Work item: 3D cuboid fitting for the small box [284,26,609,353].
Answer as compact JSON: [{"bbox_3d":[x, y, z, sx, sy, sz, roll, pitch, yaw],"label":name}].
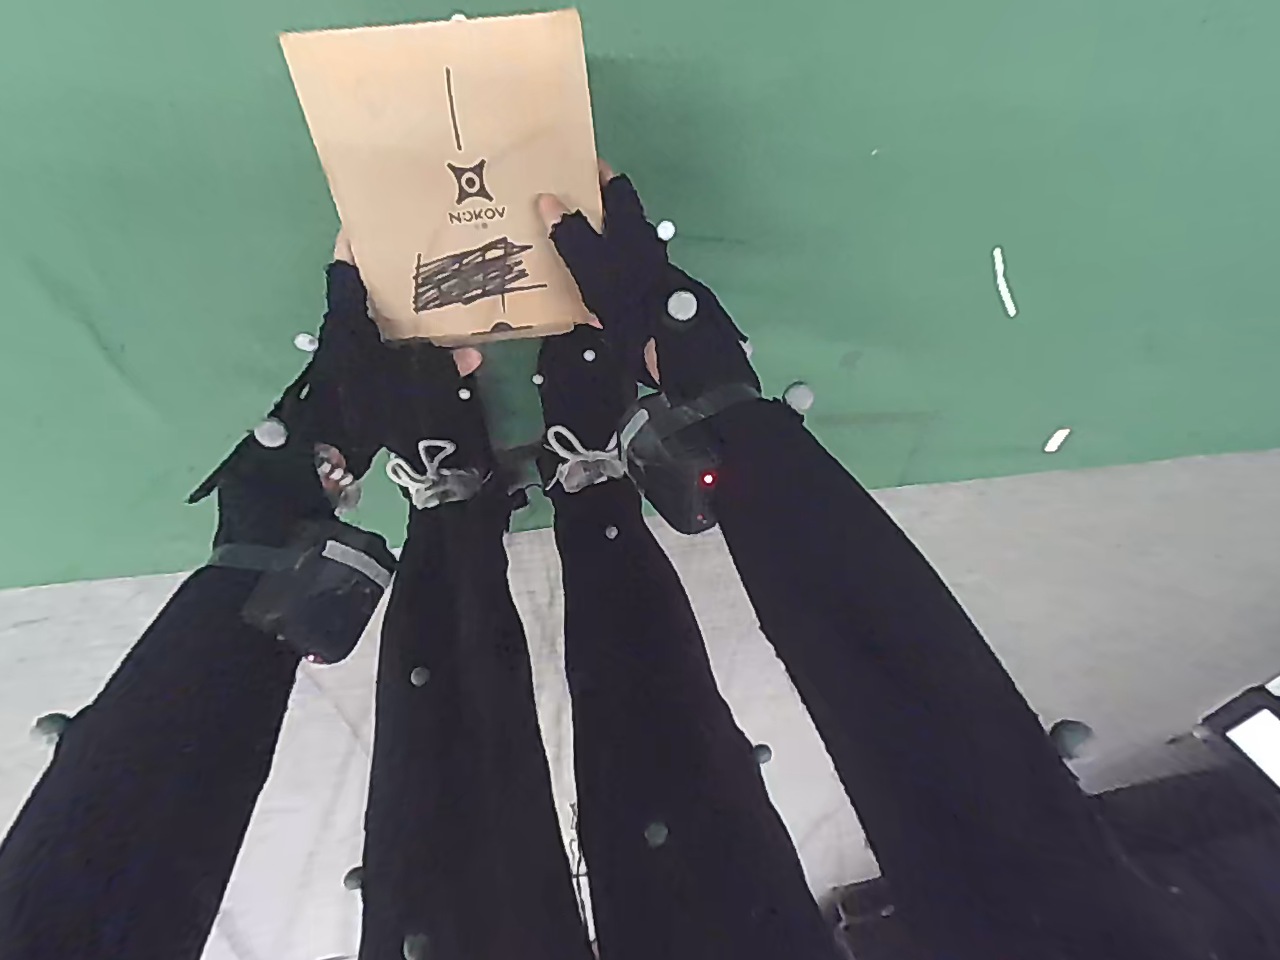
[{"bbox_3d":[-0.120,-0.216,0.413,0.168,0.176,0.179,-10,122,-5],"label":"small box"}]
